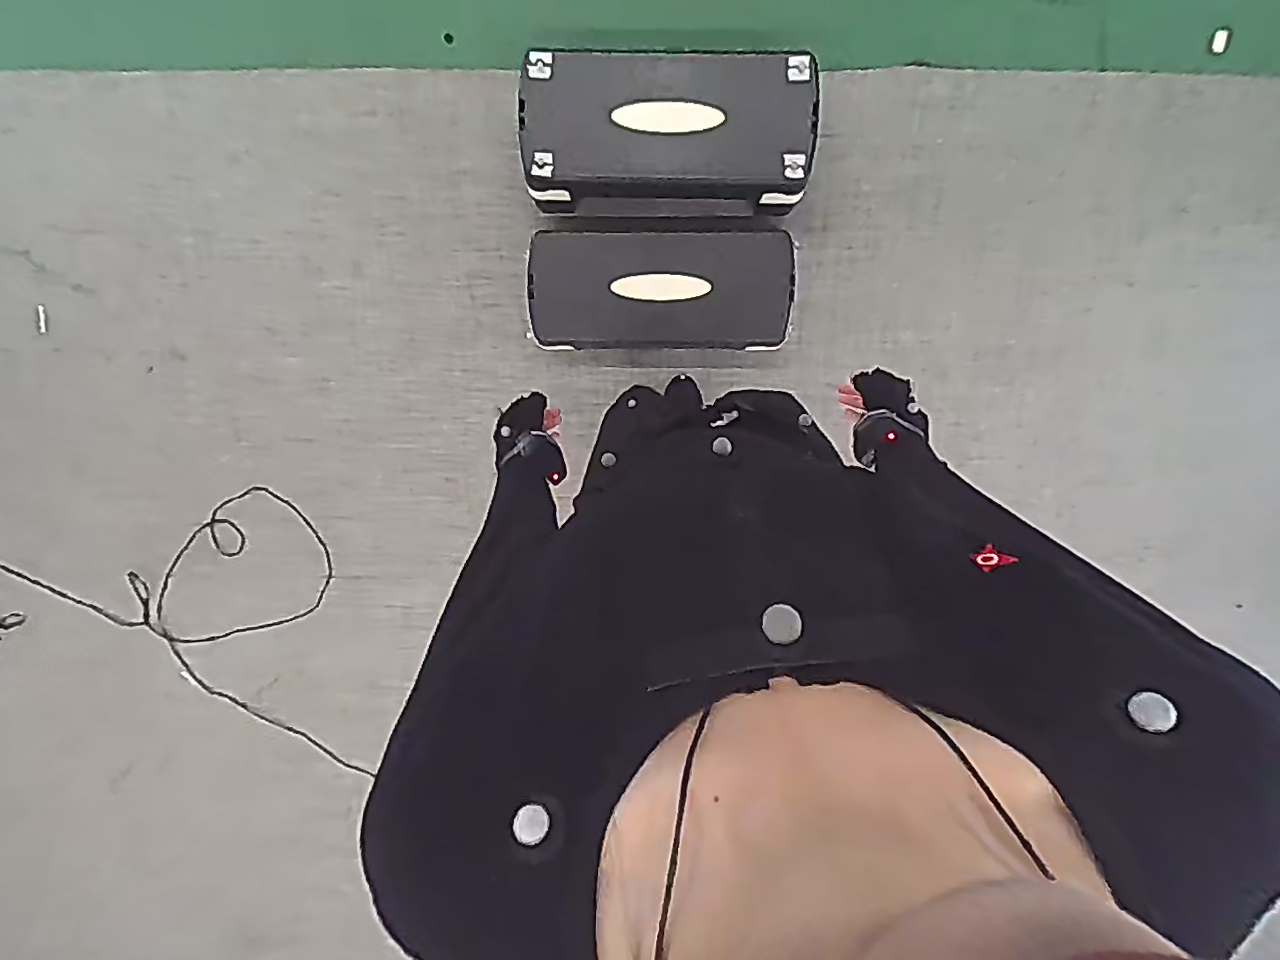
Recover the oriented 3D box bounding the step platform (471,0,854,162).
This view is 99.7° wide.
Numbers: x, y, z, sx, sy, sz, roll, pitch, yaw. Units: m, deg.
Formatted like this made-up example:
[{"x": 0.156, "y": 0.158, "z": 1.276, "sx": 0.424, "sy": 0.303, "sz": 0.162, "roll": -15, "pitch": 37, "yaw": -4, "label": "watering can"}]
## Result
[{"x": 0.039, "y": -0.804, "z": 1.057, "sx": 0.684, "sy": 0.204, "sz": 0.286, "roll": 1, "pitch": 100, "yaw": 2, "label": "step platform"}]
